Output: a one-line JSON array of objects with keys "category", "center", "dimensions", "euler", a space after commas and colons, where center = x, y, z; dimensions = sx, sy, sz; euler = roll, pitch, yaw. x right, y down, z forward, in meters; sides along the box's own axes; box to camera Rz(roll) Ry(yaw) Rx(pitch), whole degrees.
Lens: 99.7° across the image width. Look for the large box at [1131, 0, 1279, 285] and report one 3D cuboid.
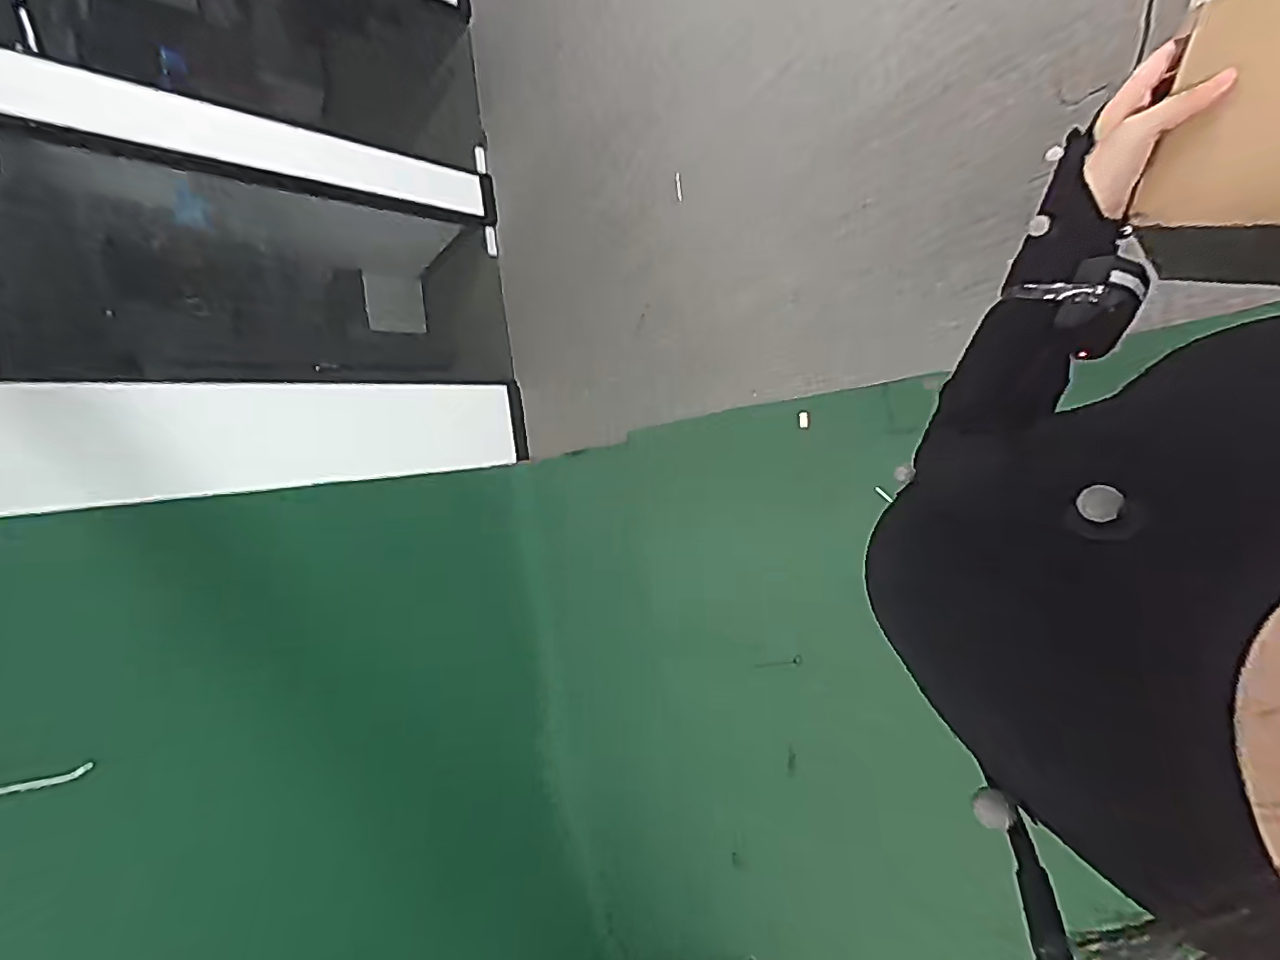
[{"category": "large box", "center": [0.644, -0.311, 0.359], "dimensions": [0.408, 0.320, 0.320], "euler": [22, 112, 42]}]
